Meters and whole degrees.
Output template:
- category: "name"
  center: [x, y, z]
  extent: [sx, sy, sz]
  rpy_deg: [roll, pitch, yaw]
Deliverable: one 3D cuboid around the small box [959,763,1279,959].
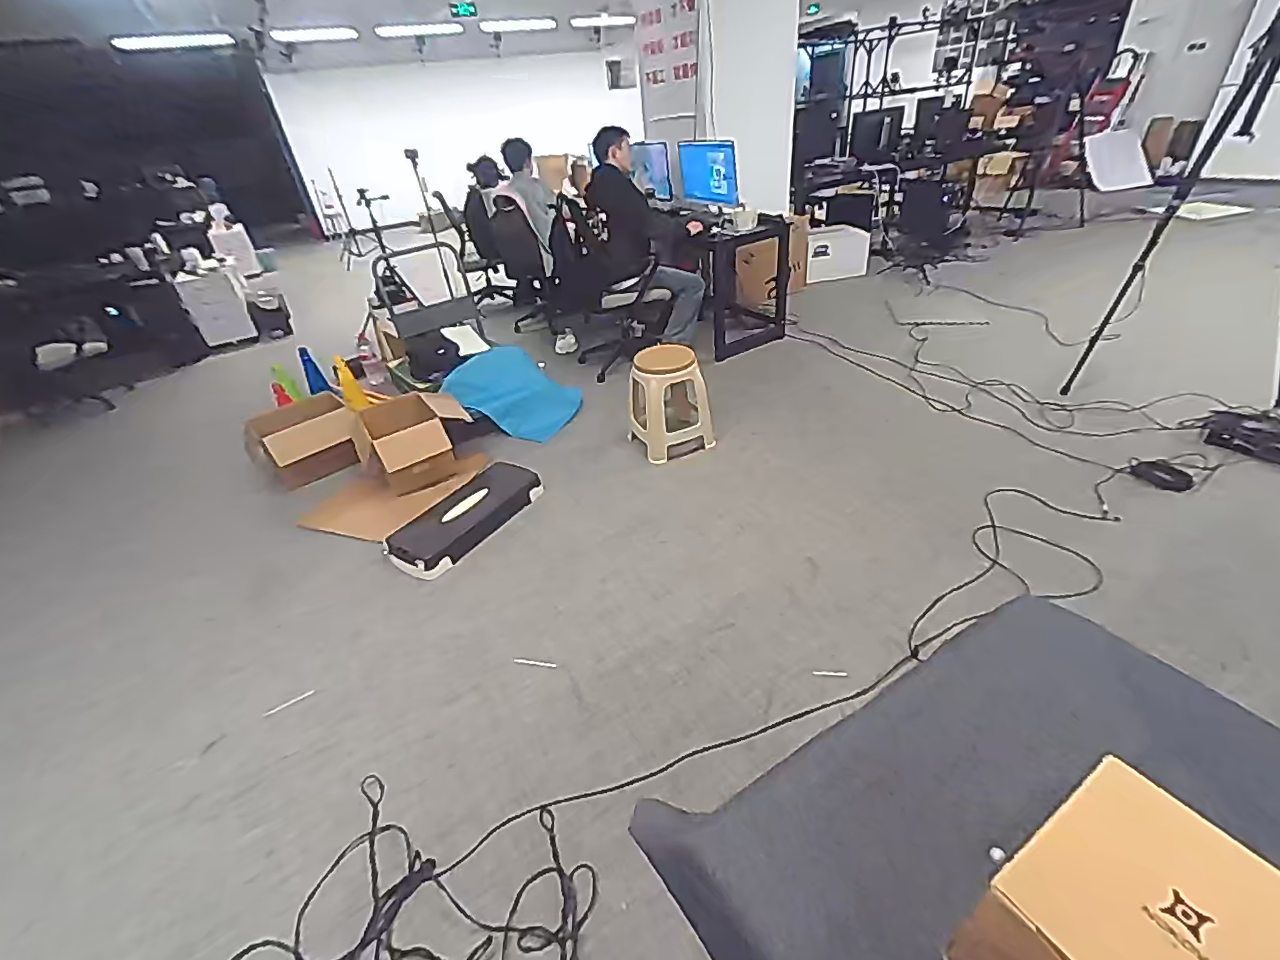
- category: "small box"
  center: [0.383, 0.372, 0.417]
  extent: [0.179, 0.176, 0.168]
  rpy_deg: [-24, 38, -23]
